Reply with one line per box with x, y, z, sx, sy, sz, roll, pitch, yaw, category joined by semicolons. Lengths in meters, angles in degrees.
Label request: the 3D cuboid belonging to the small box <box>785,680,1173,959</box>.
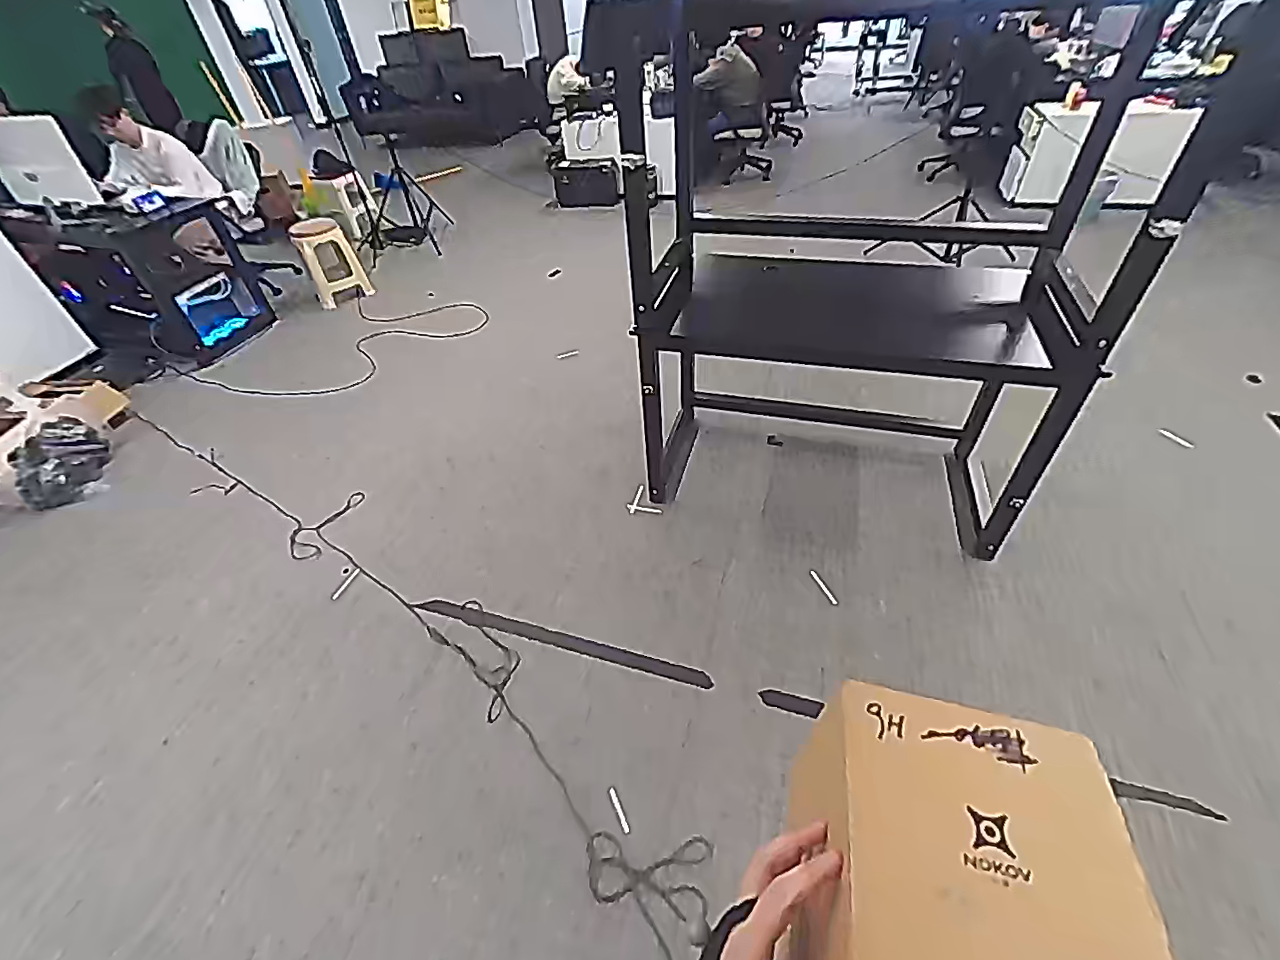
0.200;0.272;0.366;0.168;0.176;0.179;11;44;8;small box
